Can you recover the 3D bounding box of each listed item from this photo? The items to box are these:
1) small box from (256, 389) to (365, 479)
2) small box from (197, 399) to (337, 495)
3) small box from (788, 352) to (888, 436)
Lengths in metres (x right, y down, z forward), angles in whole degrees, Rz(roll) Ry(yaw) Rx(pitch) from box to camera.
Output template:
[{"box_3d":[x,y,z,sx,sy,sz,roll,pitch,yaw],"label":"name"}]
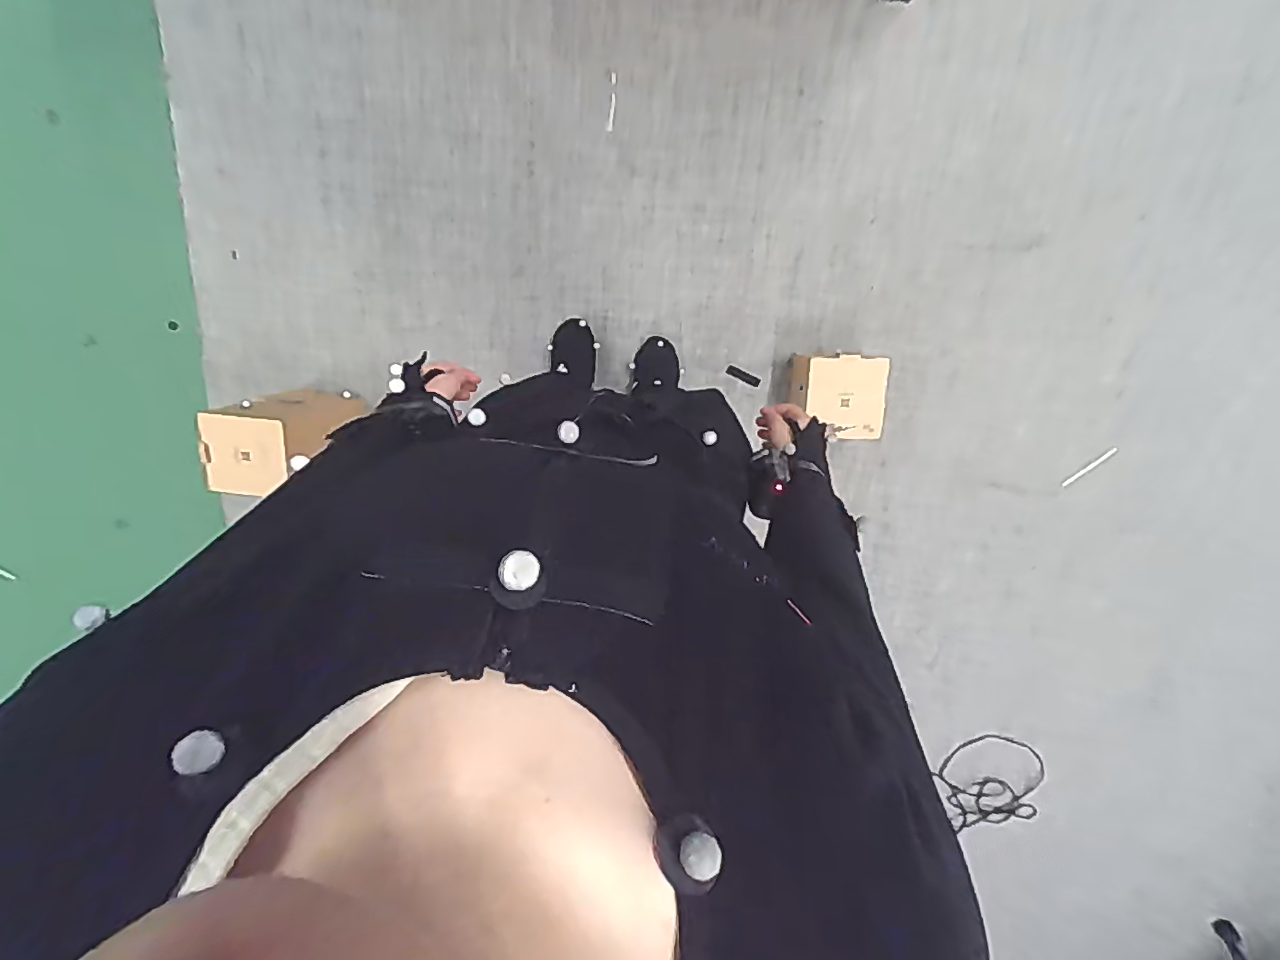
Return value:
[{"box_3d":[-0.789,-0.119,1.311,0.168,0.176,0.179,8,107,1],"label":"small box"},{"box_3d":[-0.783,-0.077,1.153,0.179,0.176,0.168,5,107,1],"label":"small box"},{"box_3d":[0.437,-0.199,1.222,0.168,0.176,0.179,1,105,3],"label":"small box"}]
